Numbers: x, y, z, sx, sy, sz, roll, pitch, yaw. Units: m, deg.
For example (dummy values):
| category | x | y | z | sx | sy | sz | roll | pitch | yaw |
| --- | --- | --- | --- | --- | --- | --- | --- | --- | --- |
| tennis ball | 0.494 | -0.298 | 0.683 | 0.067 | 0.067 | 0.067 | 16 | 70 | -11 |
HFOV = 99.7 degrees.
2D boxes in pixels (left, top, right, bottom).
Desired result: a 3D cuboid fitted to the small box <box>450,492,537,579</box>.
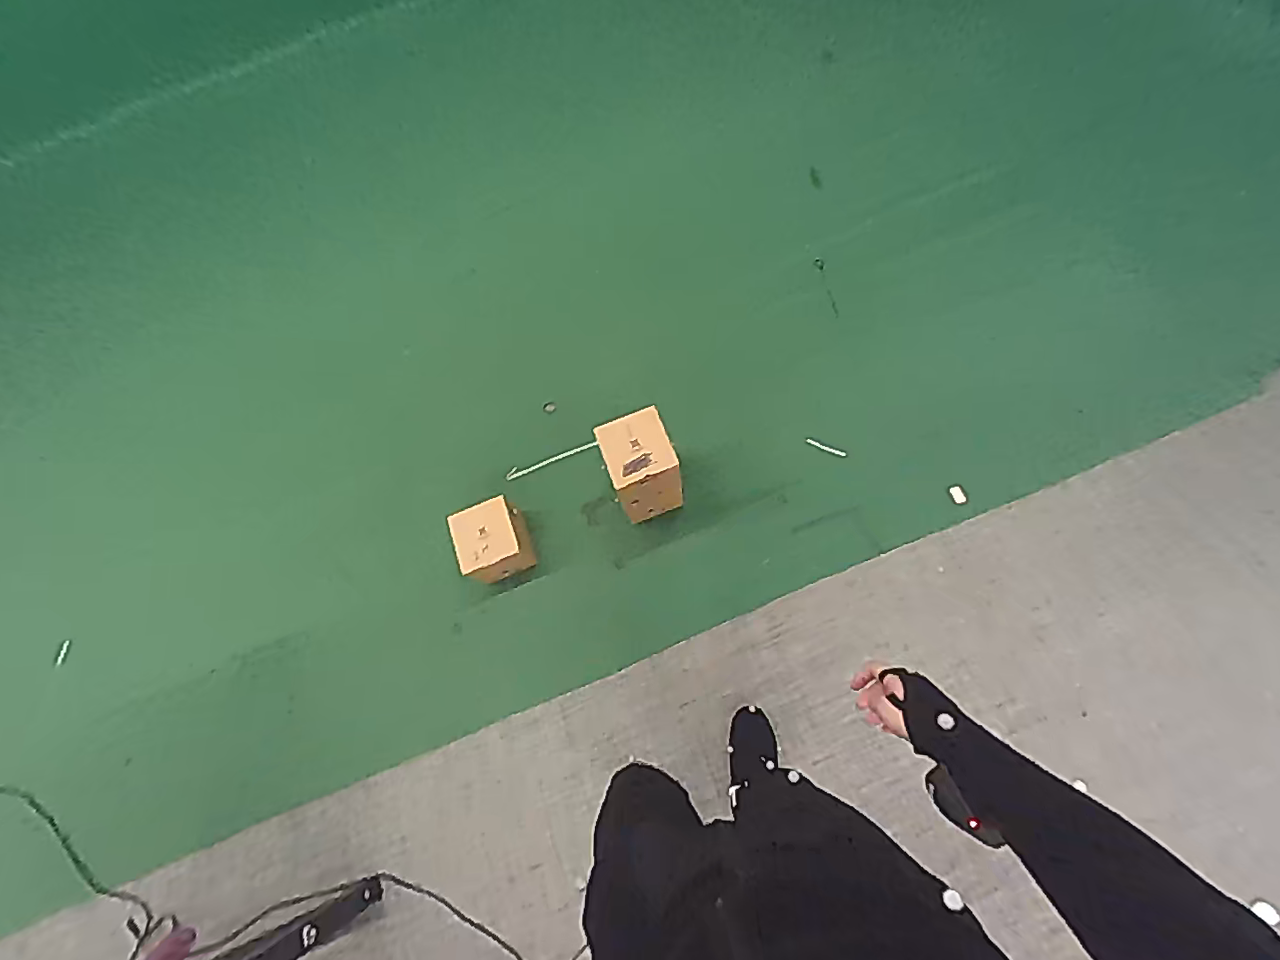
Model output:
| category | x | y | z | sx | sy | sz | roll | pitch | yaw |
| --- | --- | --- | --- | --- | --- | --- | --- | --- | --- |
| small box | -0.410 | 0.163 | 1.530 | 0.168 | 0.176 | 0.179 | -22 | 70 | 0 |

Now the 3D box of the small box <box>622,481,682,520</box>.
| category | x | y | z | sx | sy | sz | roll | pitch | yaw |
| --- | --- | --- | --- | --- | --- | --- | --- | --- | --- |
| small box | 0.015 | -0.006 | 1.543 | 0.168 | 0.176 | 0.179 | -21 | 71 | -1 |

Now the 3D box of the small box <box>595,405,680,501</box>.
| category | x | y | z | sx | sy | sz | roll | pitch | yaw |
| --- | --- | --- | --- | --- | --- | --- | --- | --- | --- |
| small box | 0.000 | -0.059 | 1.388 | 0.168 | 0.176 | 0.179 | -20 | 70 | -2 |
